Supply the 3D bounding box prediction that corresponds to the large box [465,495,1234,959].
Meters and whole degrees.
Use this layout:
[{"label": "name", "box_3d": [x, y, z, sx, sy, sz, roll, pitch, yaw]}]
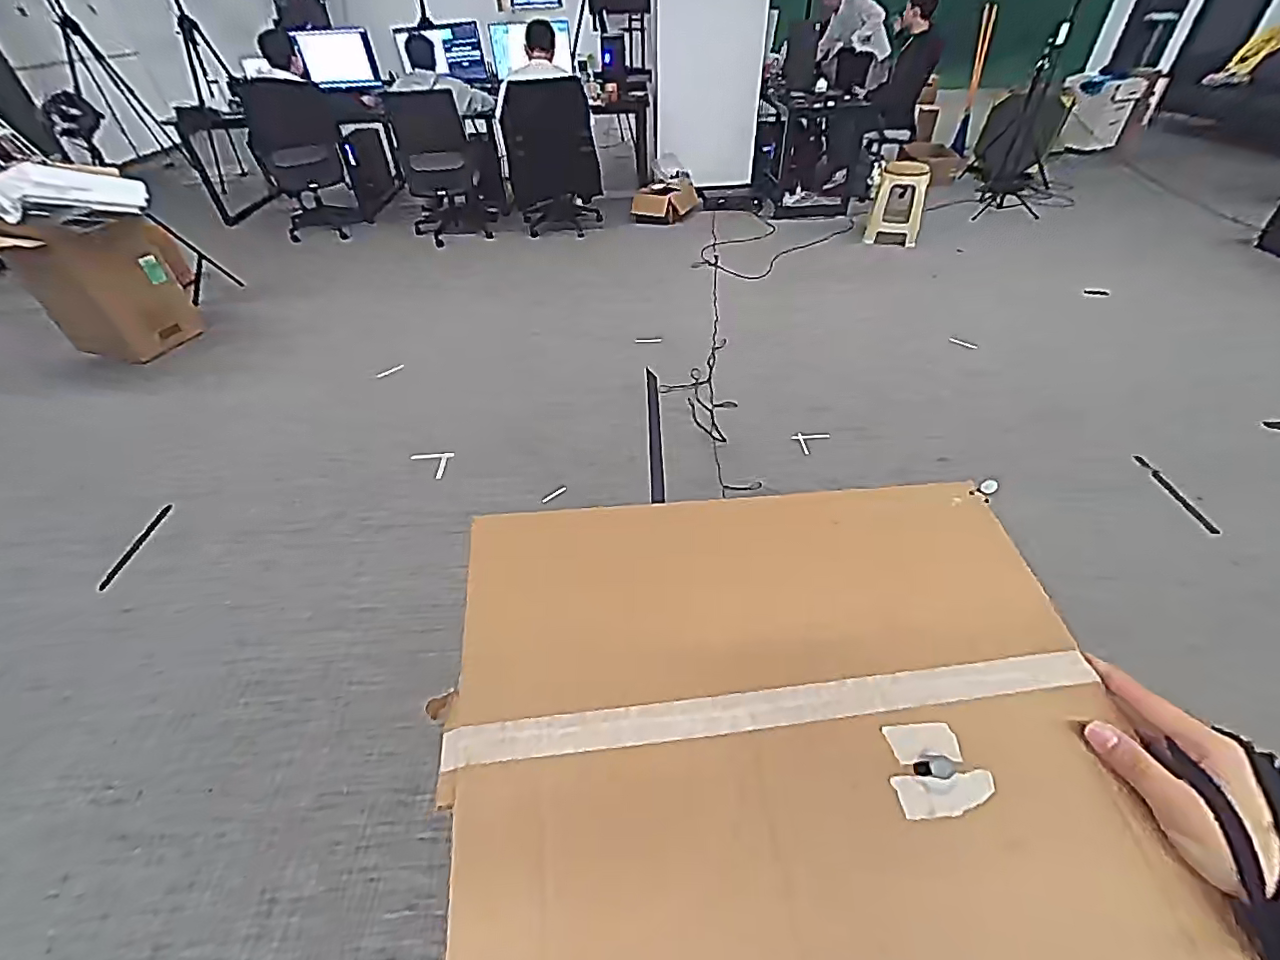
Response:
[{"label": "large box", "box_3d": [0.084, 0.238, 0.459, 0.408, 0.320, 0.320, -4, 54, -8]}]
